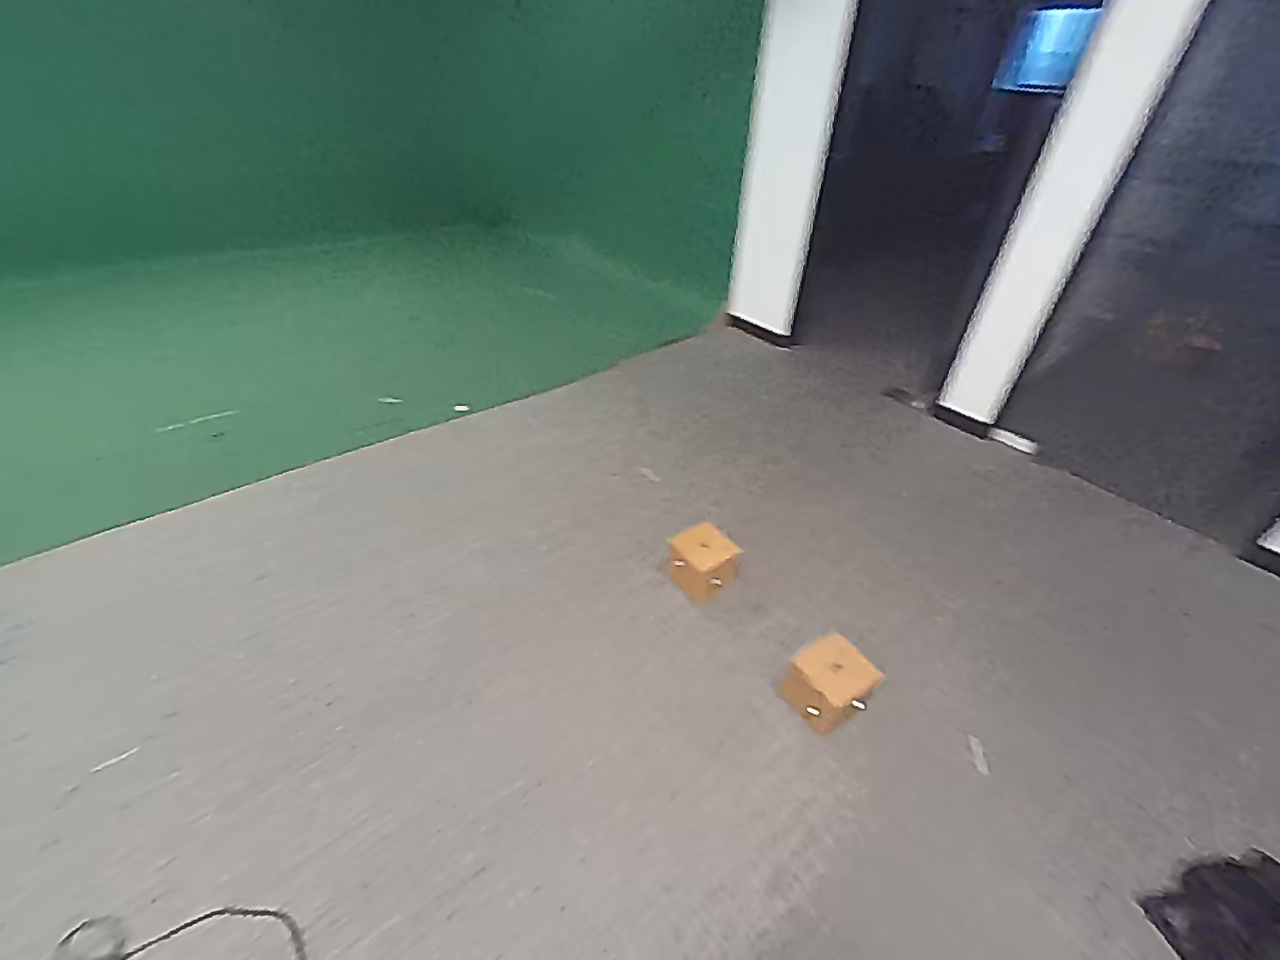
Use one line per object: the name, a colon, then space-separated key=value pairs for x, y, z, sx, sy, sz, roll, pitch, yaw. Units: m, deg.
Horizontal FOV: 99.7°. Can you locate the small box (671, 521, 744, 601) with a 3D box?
small box: x=0.217 y=0.271 z=1.771 sx=0.168 sy=0.176 sz=0.179 roll=-23 pitch=44 yaw=-27

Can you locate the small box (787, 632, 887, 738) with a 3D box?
small box: x=0.513 y=0.547 z=1.440 sx=0.179 sy=0.176 sz=0.168 roll=-19 pitch=44 yaw=-25
